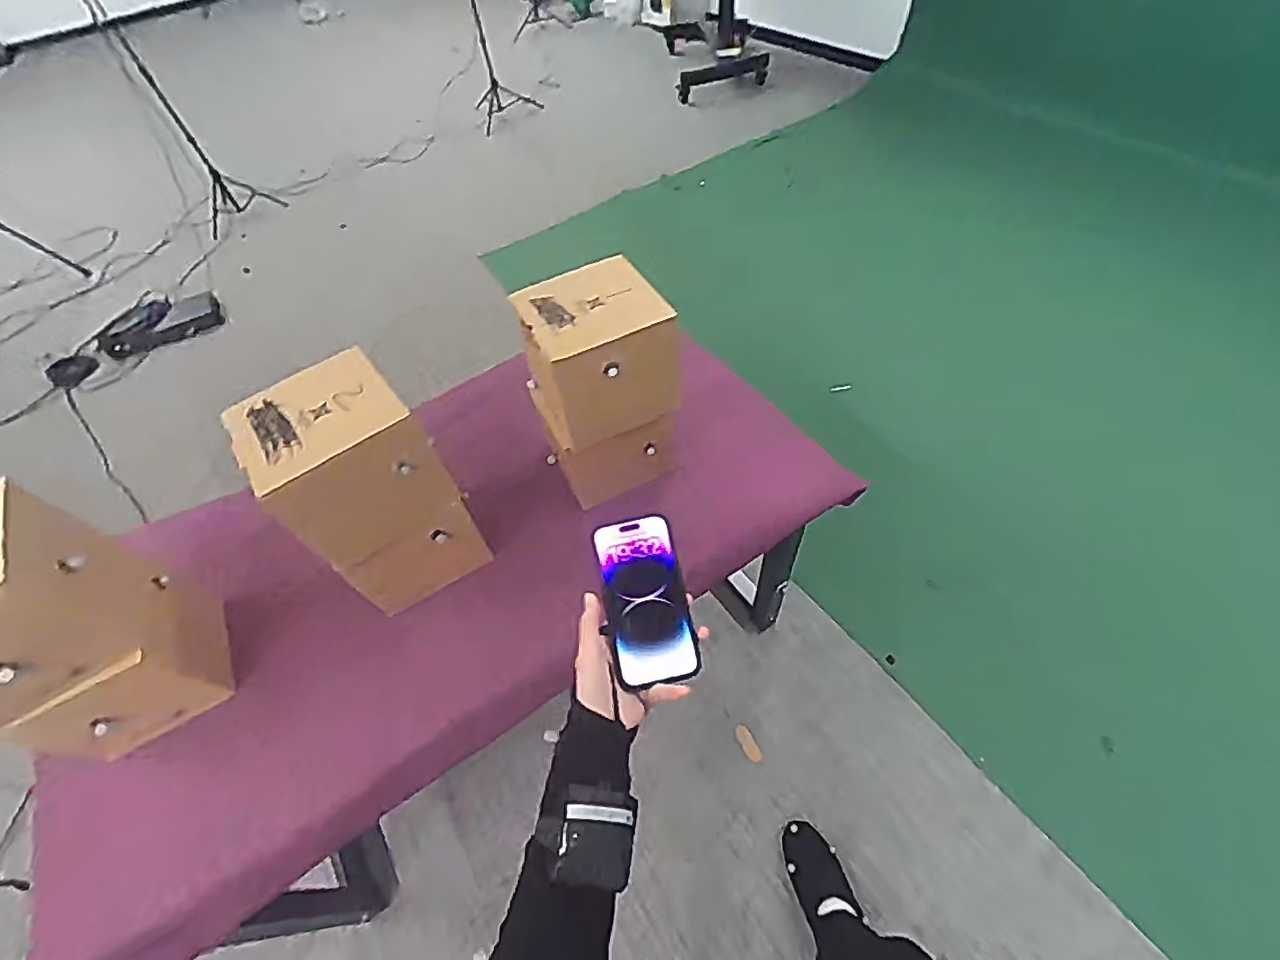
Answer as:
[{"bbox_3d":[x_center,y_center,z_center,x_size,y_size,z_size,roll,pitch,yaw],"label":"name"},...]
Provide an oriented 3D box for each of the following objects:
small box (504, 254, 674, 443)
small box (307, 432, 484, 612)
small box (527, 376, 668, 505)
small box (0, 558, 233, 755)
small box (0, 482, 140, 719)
[{"bbox_3d":[-0.064,-0.180,0.761,0.179,0.176,0.168,-25,55,-12],"label":"small box"},{"bbox_3d":[-0.355,0.066,0.818,0.179,0.176,0.168,-30,56,-15],"label":"small box"},{"bbox_3d":[-0.063,-0.090,0.899,0.179,0.176,0.168,-25,55,-11],"label":"small box"},{"bbox_3d":[-0.692,0.244,0.729,0.168,0.176,0.179,-30,56,-15],"label":"small box"},{"bbox_3d":[-0.712,0.142,0.602,0.168,0.176,0.179,-34,58,-18],"label":"small box"}]
